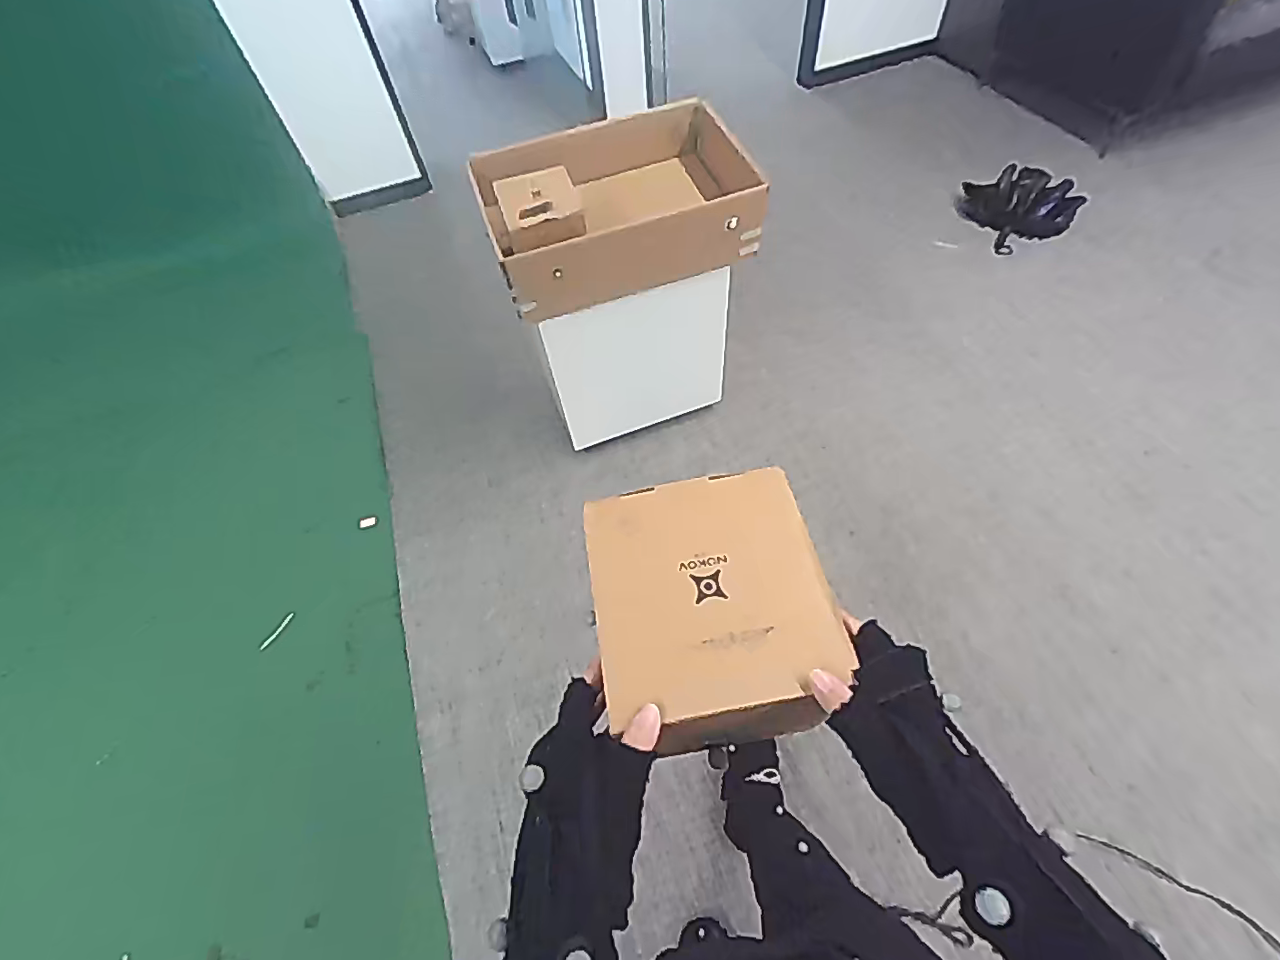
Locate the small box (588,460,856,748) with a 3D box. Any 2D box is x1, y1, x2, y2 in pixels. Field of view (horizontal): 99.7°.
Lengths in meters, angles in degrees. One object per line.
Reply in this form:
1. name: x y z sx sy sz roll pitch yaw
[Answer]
1. small box: 0.054 0.110 0.460 0.168 0.176 0.179 -10 57 -1
